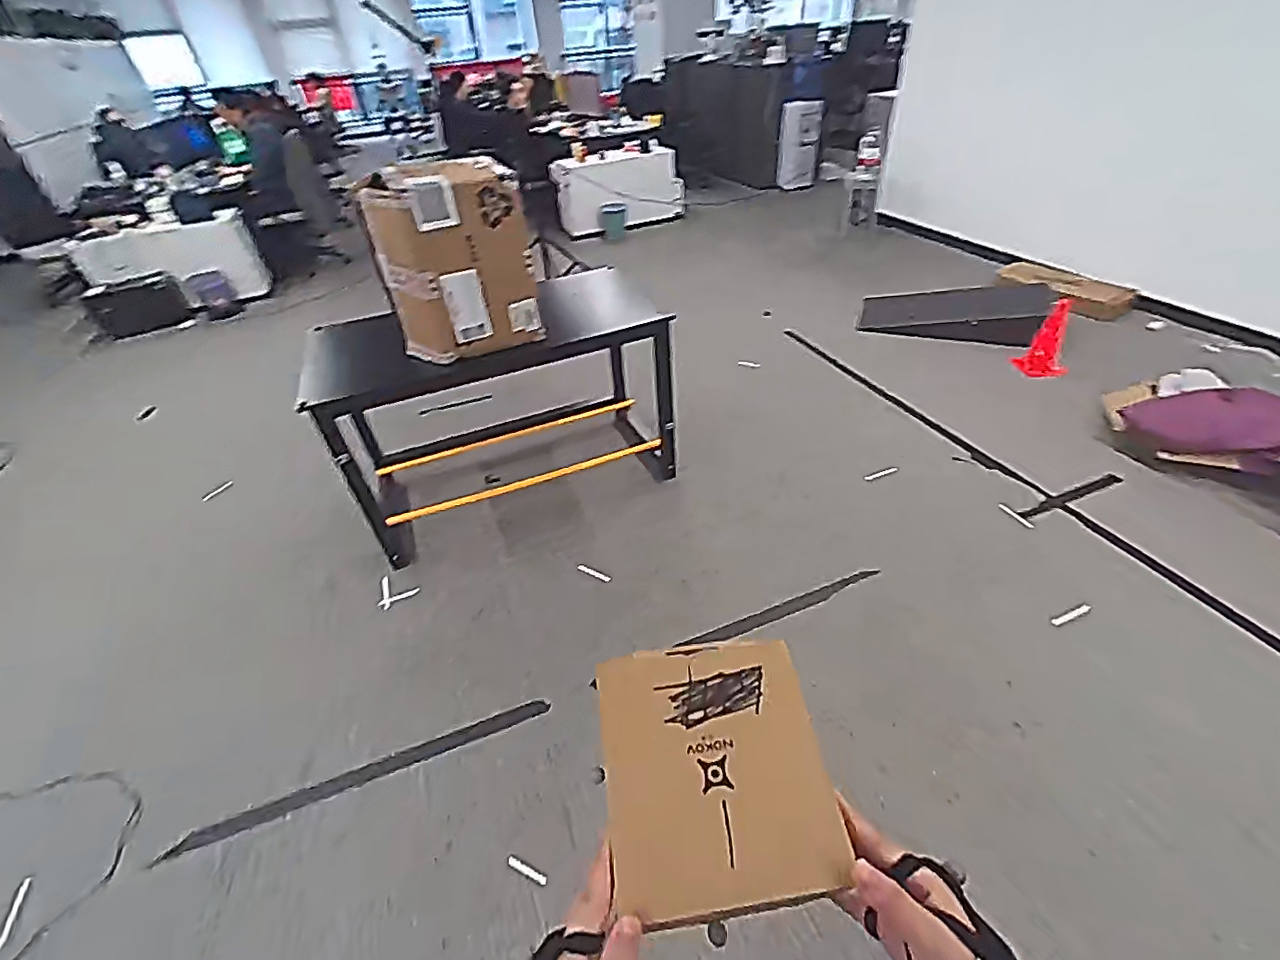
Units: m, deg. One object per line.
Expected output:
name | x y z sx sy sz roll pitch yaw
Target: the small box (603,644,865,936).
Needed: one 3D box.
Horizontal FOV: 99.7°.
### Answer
small box | 0.056 0.266 0.466 0.168 0.176 0.179 -6 50 -6
